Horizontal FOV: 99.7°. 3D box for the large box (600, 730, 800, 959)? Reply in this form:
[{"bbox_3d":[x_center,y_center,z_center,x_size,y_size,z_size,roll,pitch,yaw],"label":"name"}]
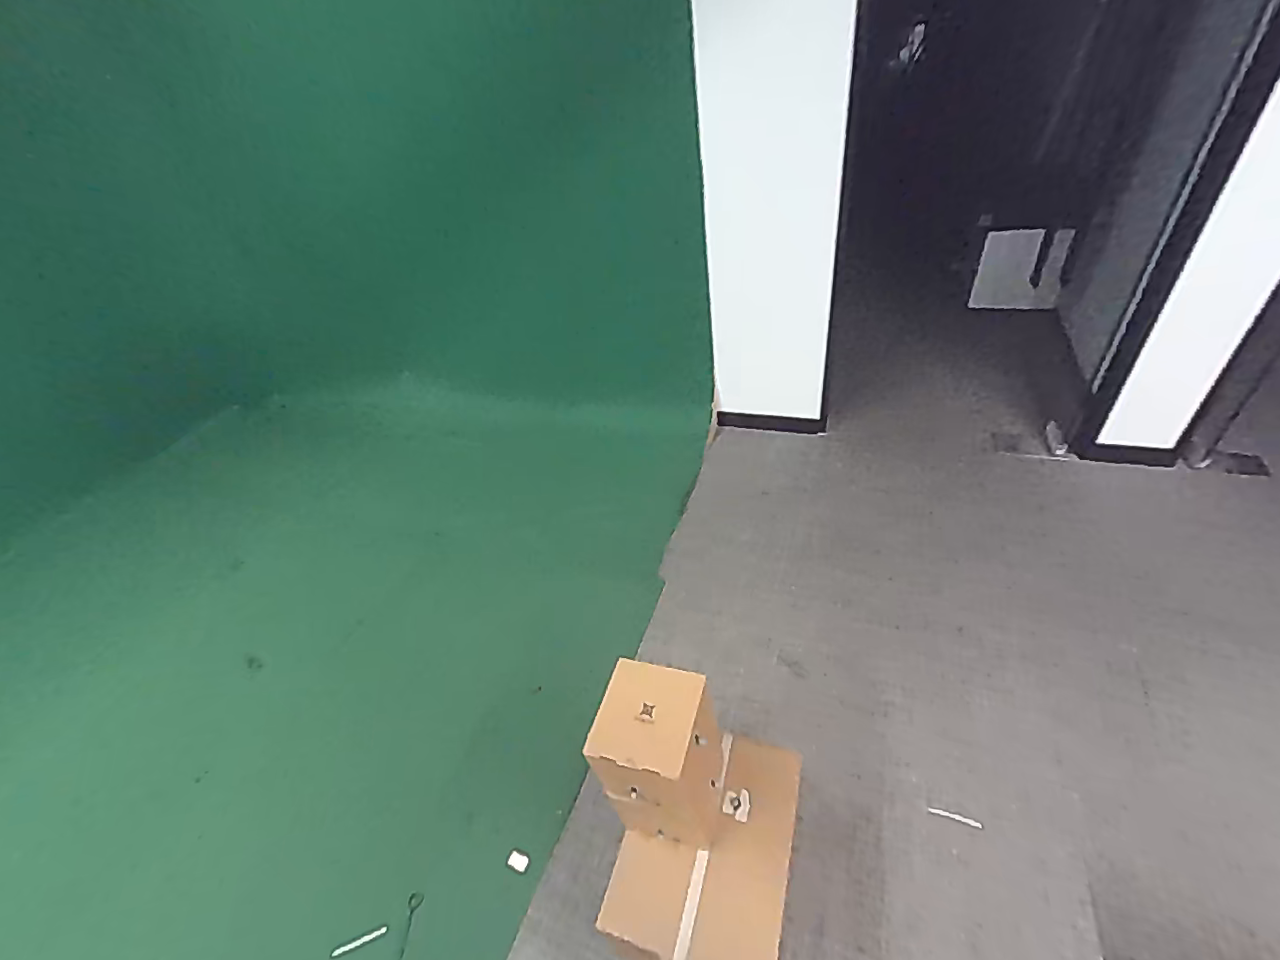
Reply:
[{"bbox_3d":[0.155,0.798,1.141,0.320,0.320,0.408,7,42,21],"label":"large box"}]

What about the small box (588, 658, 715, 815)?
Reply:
[{"bbox_3d":[0.031,0.446,0.947,0.168,0.176,0.179,4,44,22],"label":"small box"}]
